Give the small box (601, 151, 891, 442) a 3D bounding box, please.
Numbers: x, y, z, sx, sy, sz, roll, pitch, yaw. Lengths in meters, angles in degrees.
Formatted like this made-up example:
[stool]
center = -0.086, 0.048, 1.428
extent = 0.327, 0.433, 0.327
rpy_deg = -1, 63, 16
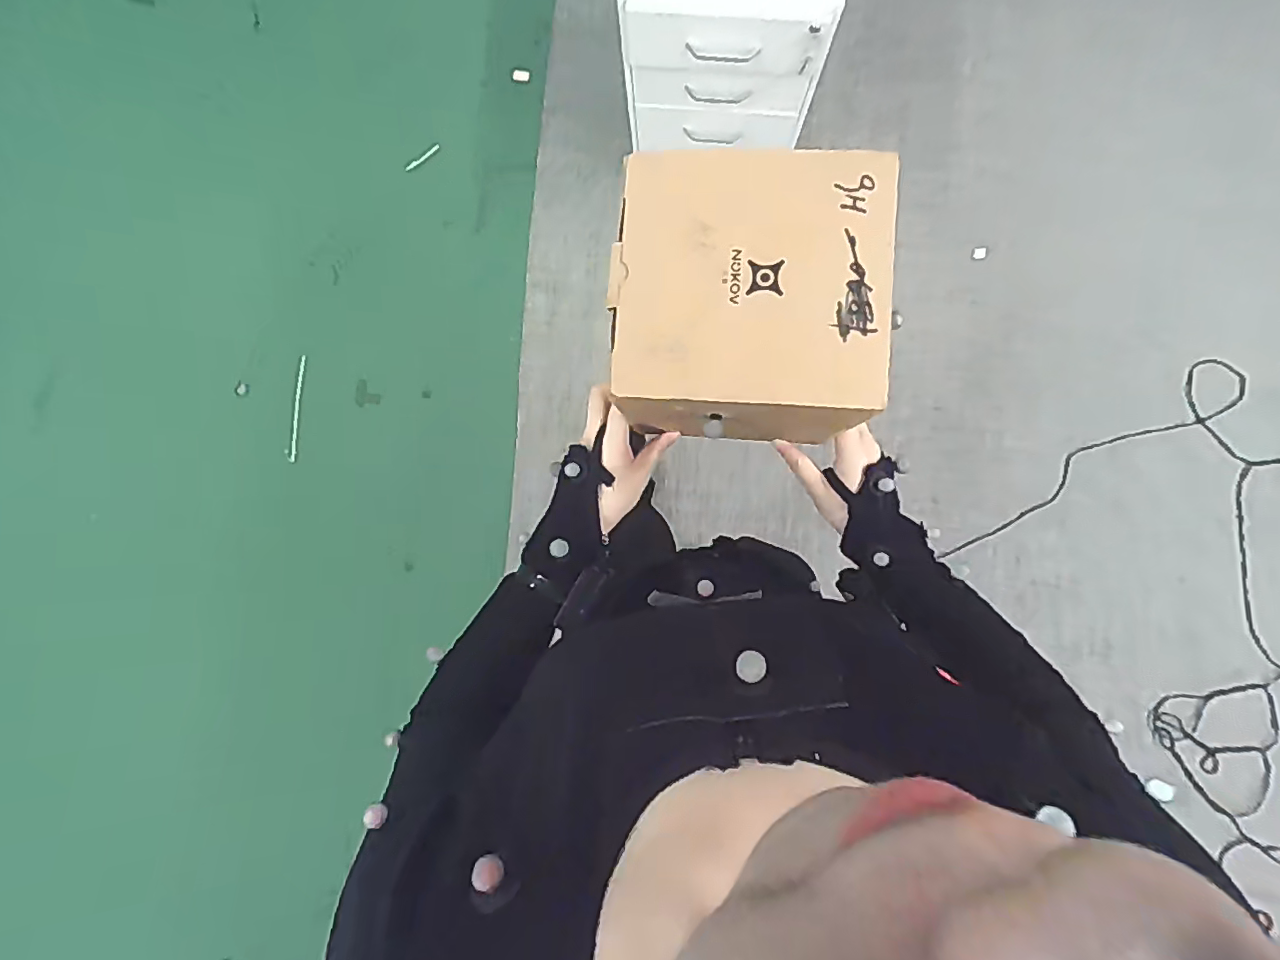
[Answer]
[small box]
center = 0.076, -0.126, 0.428
extent = 0.179, 0.176, 0.168
rpy_deg = 4, 87, 6
